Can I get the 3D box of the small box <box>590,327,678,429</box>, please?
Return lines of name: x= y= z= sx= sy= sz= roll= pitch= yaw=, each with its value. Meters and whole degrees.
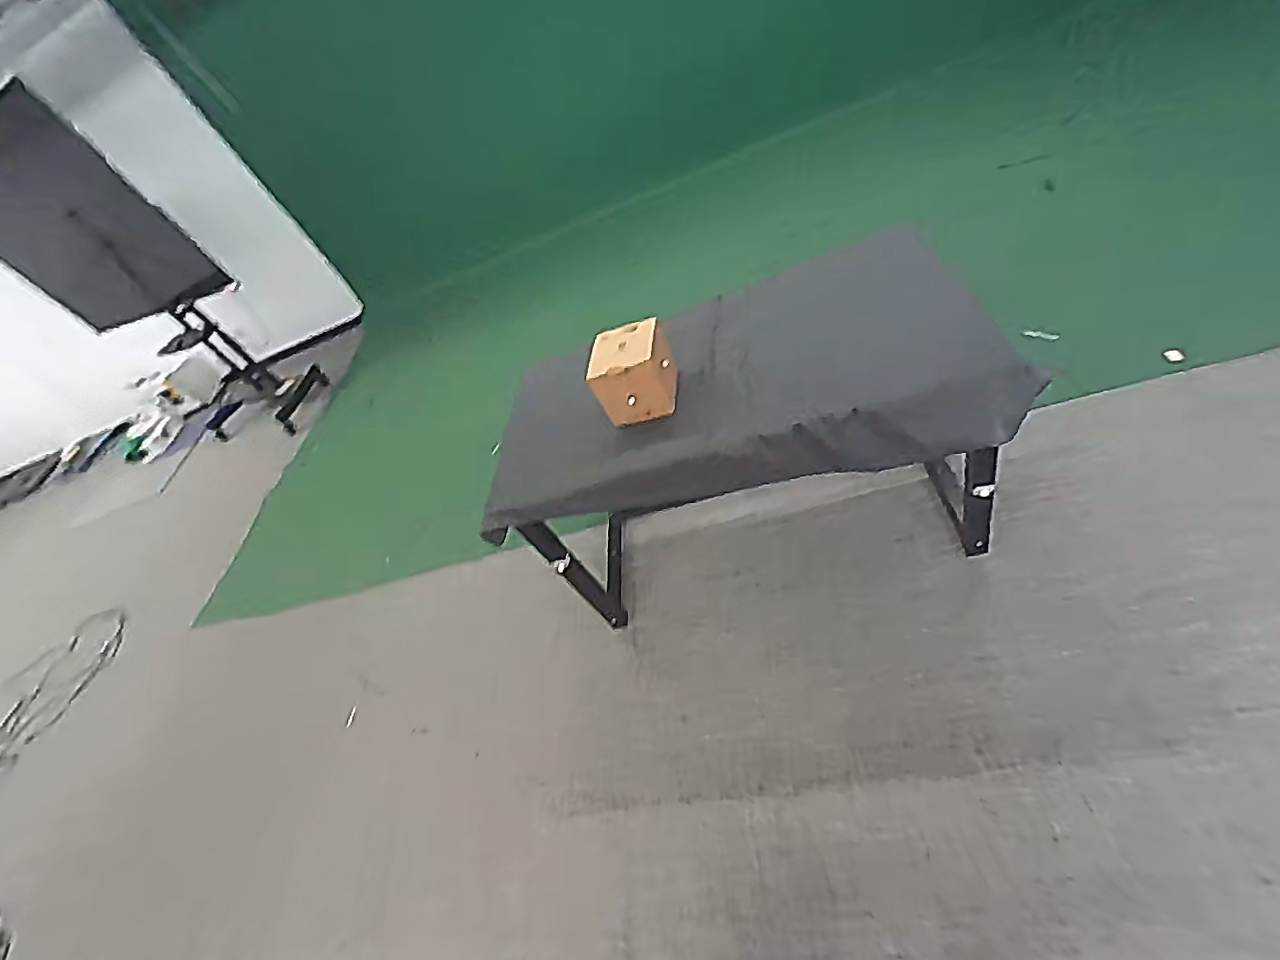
small box: x=-0.009 y=-0.247 z=1.364 sx=0.168 sy=0.176 sz=0.179 roll=-15 pitch=45 yaw=19
